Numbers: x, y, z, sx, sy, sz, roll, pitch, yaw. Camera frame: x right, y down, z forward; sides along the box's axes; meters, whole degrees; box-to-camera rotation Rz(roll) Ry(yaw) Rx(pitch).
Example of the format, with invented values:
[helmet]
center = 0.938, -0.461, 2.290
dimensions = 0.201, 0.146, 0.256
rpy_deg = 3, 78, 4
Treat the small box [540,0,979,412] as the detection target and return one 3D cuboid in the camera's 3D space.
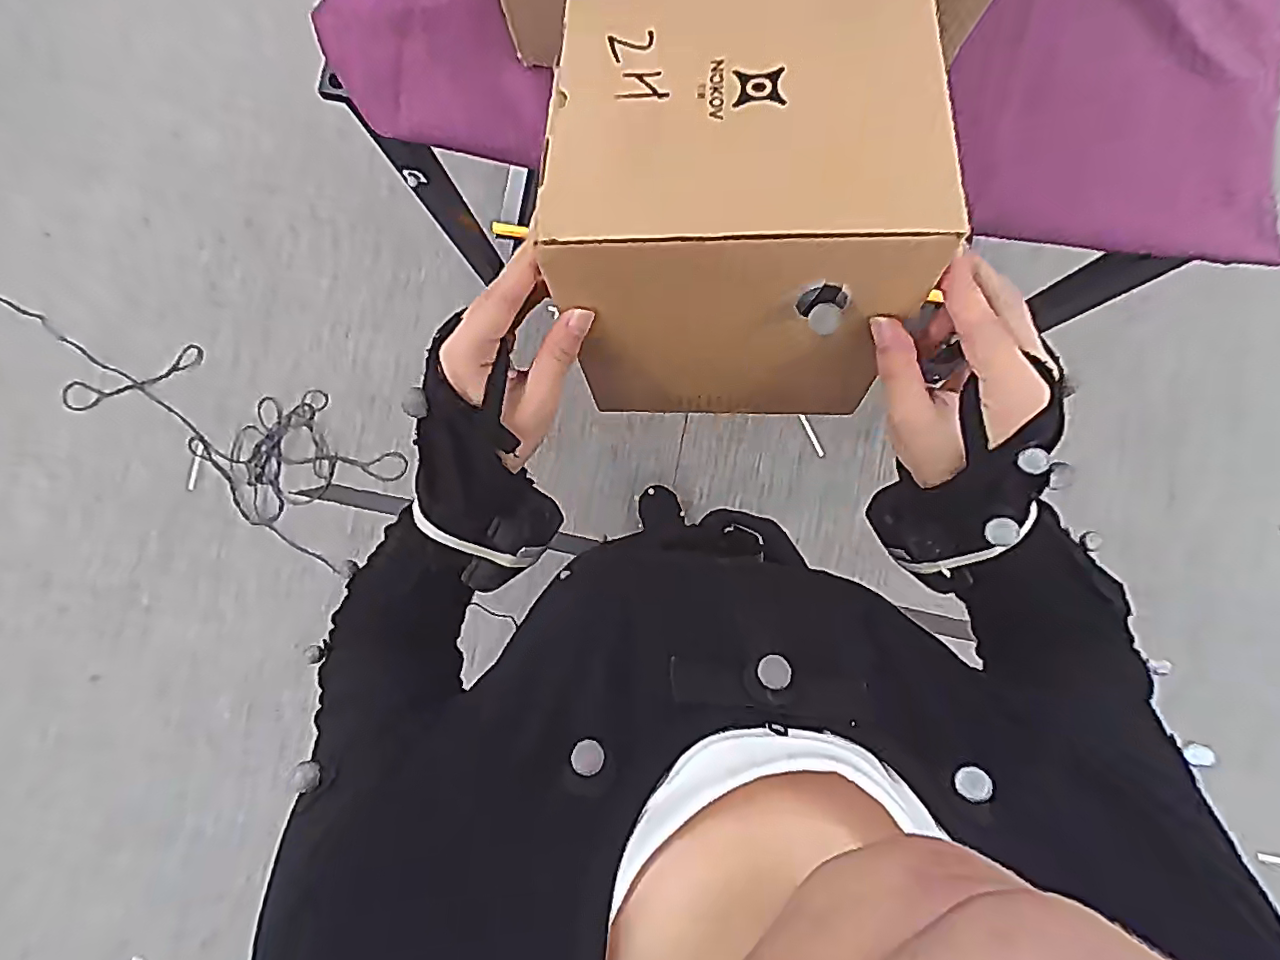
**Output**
[small box]
center = 0.058, -0.148, 0.314
dimensions = 0.179, 0.176, 0.168
rpy_deg = 1, 72, 8
